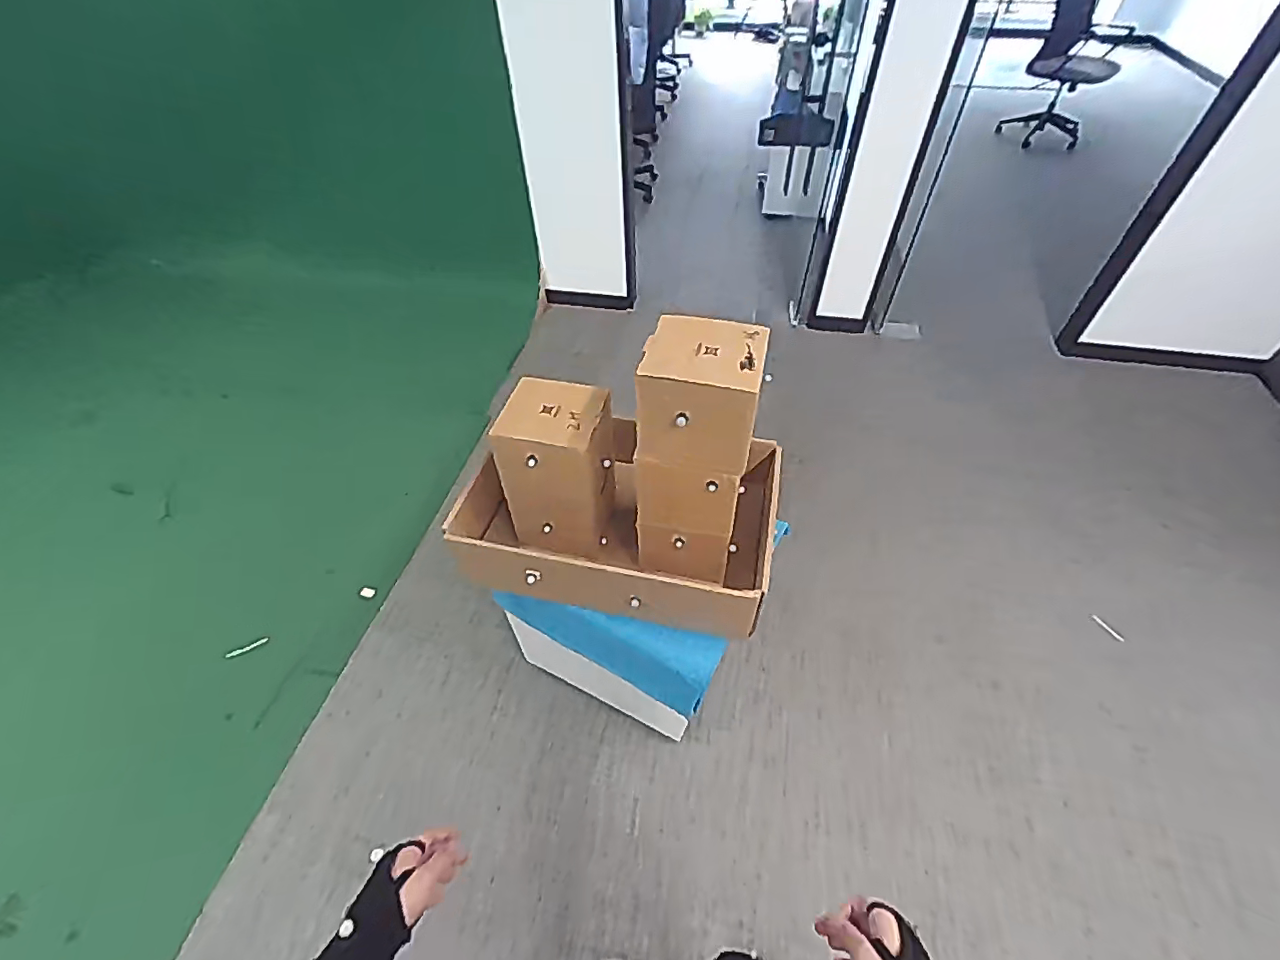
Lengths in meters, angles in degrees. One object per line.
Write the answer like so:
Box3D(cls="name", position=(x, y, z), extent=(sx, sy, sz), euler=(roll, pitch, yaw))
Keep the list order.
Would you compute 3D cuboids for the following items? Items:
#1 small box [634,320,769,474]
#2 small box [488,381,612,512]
Box3D(cls="small box", position=(0.097, -0.130, 0.855), extent=(0.179, 0.176, 0.168), euler=(10, 49, 11))
Box3D(cls="small box", position=(-0.157, -0.060, 1.014), extent=(0.179, 0.176, 0.168), euler=(10, 49, 8))
